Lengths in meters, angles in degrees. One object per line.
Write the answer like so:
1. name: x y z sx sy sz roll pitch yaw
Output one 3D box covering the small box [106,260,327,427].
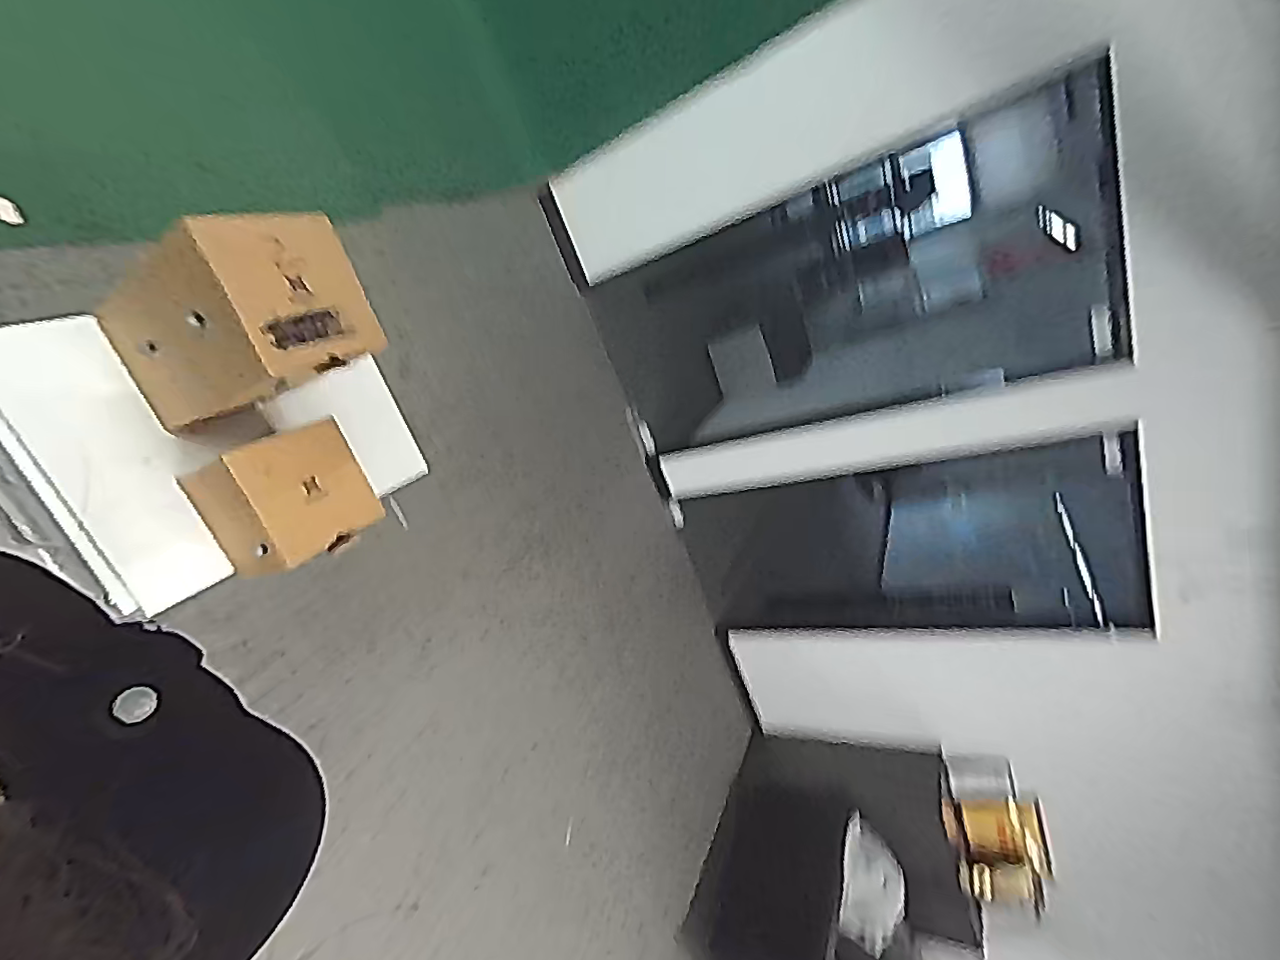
1. small box: -0.606 -0.195 0.779 0.168 0.176 0.179 -43 118 -52
